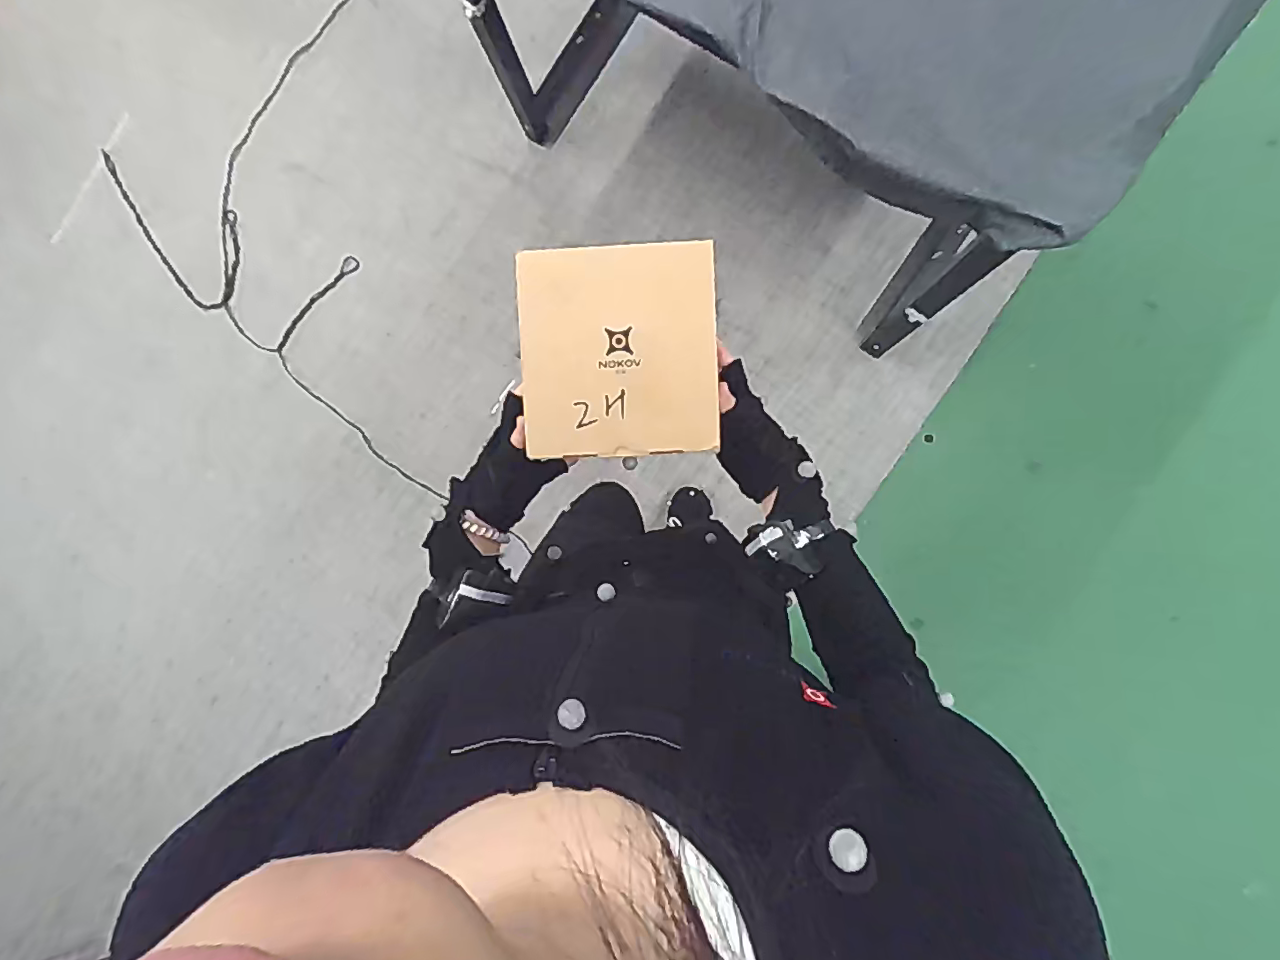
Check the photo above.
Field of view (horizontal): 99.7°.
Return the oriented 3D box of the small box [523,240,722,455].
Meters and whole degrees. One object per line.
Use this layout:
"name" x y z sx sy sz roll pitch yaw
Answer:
"small box" -0.013 -0.114 0.530 0.168 0.176 0.179 -2 94 2
